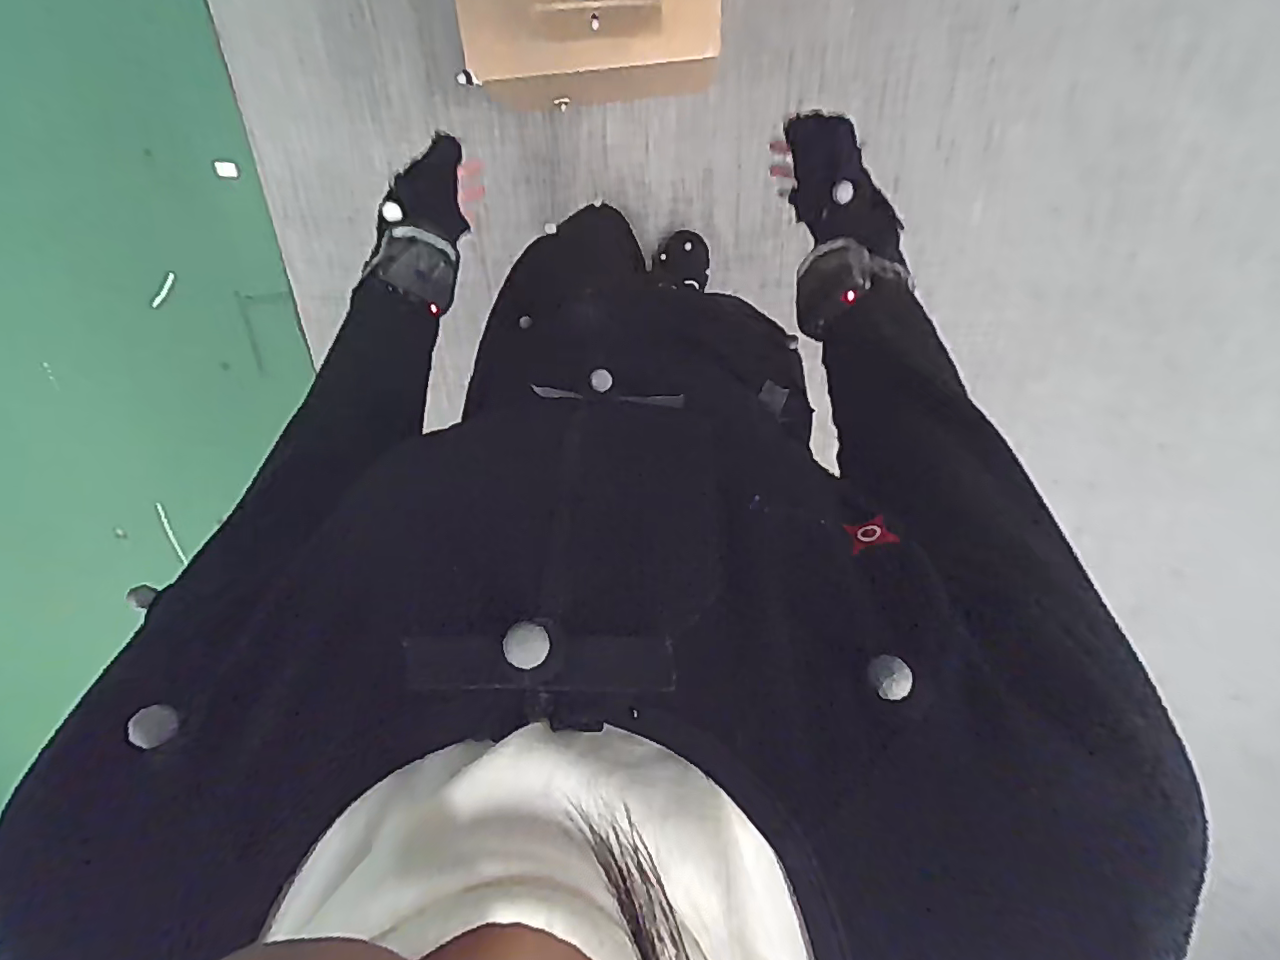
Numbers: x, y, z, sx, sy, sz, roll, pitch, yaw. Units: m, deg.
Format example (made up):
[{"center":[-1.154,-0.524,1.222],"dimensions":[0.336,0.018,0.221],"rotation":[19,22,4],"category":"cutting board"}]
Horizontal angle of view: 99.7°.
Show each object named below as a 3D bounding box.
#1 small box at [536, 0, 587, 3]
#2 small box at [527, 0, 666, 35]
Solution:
[{"center":[-0.060,-0.640,0.575],"dimensions":[0.179,0.176,0.168],"rotation":[-1,119,5],"category":"small box"},{"center":[-0.055,-0.717,0.720],"dimensions":[0.179,0.176,0.168],"rotation":[0,119,4],"category":"small box"}]
